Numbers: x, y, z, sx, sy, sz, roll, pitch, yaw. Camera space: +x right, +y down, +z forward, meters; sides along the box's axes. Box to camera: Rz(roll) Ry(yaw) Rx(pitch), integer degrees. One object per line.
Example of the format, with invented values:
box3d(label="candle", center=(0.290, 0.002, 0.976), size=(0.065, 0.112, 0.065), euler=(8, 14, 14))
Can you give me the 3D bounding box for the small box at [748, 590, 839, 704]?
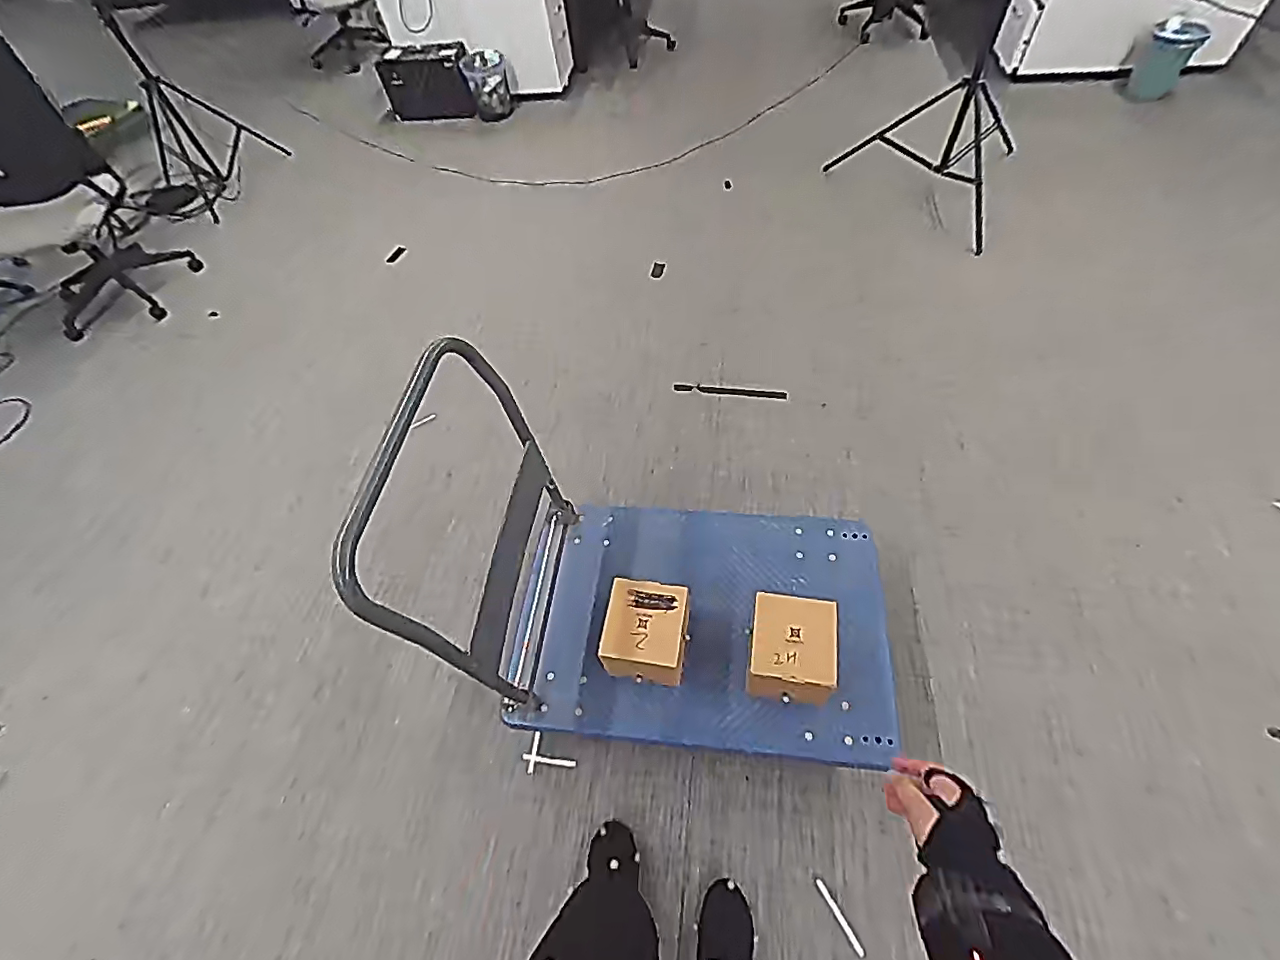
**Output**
box3d(label="small box", center=(0.325, 0.359, 1.158), size=(0.168, 0.176, 0.179), euler=(6, 57, 11))
